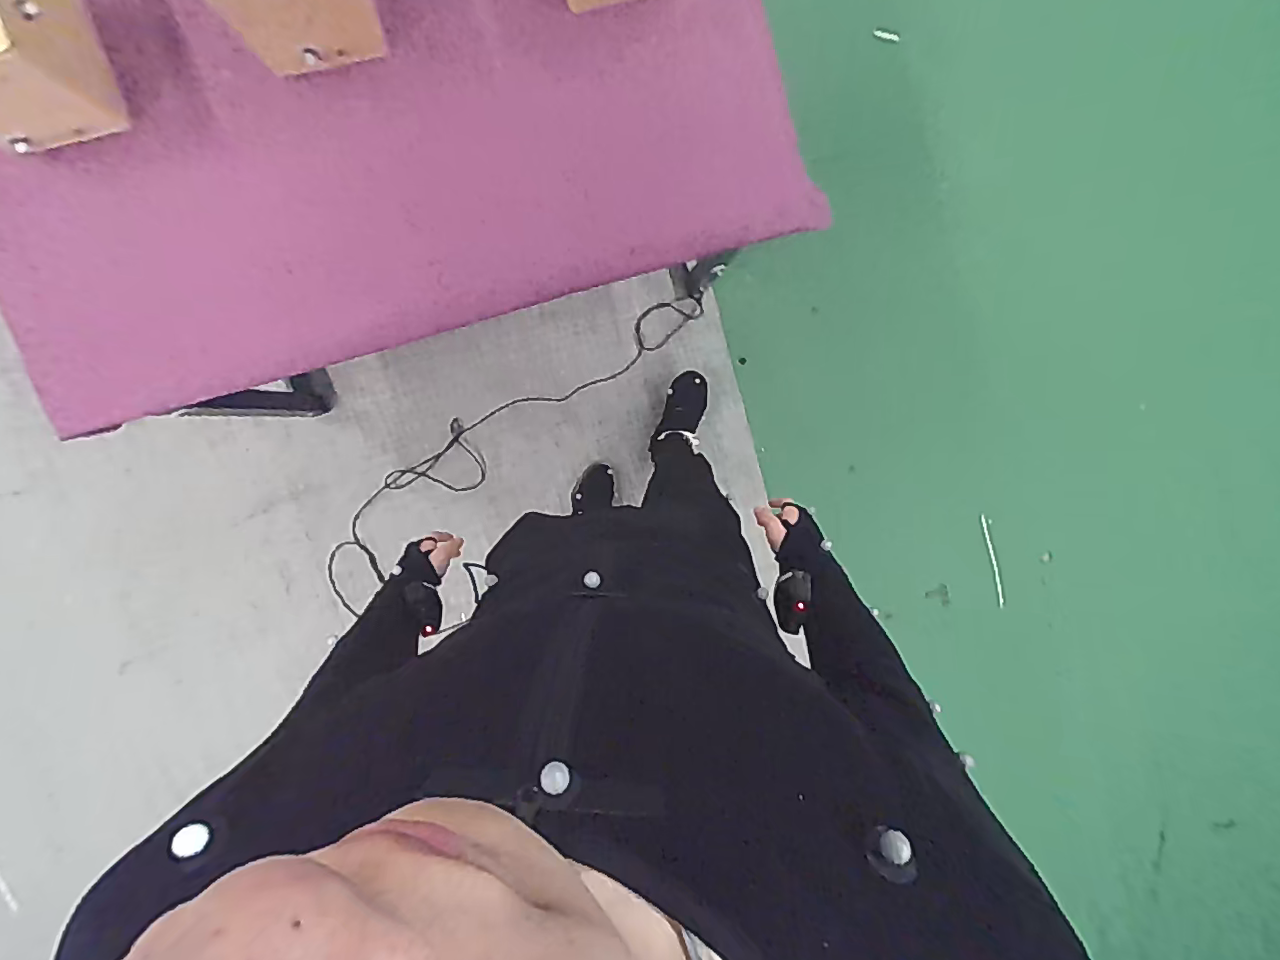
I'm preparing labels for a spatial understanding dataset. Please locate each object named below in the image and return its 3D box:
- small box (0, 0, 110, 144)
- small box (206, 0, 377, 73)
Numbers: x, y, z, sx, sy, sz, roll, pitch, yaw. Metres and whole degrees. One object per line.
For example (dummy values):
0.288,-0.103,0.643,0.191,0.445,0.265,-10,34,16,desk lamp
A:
-0.822,-0.542,0.658,0.168,0.176,0.179,-17,100,-4,small box
-0.466,-0.669,0.683,0.168,0.176,0.179,-15,100,-3,small box
